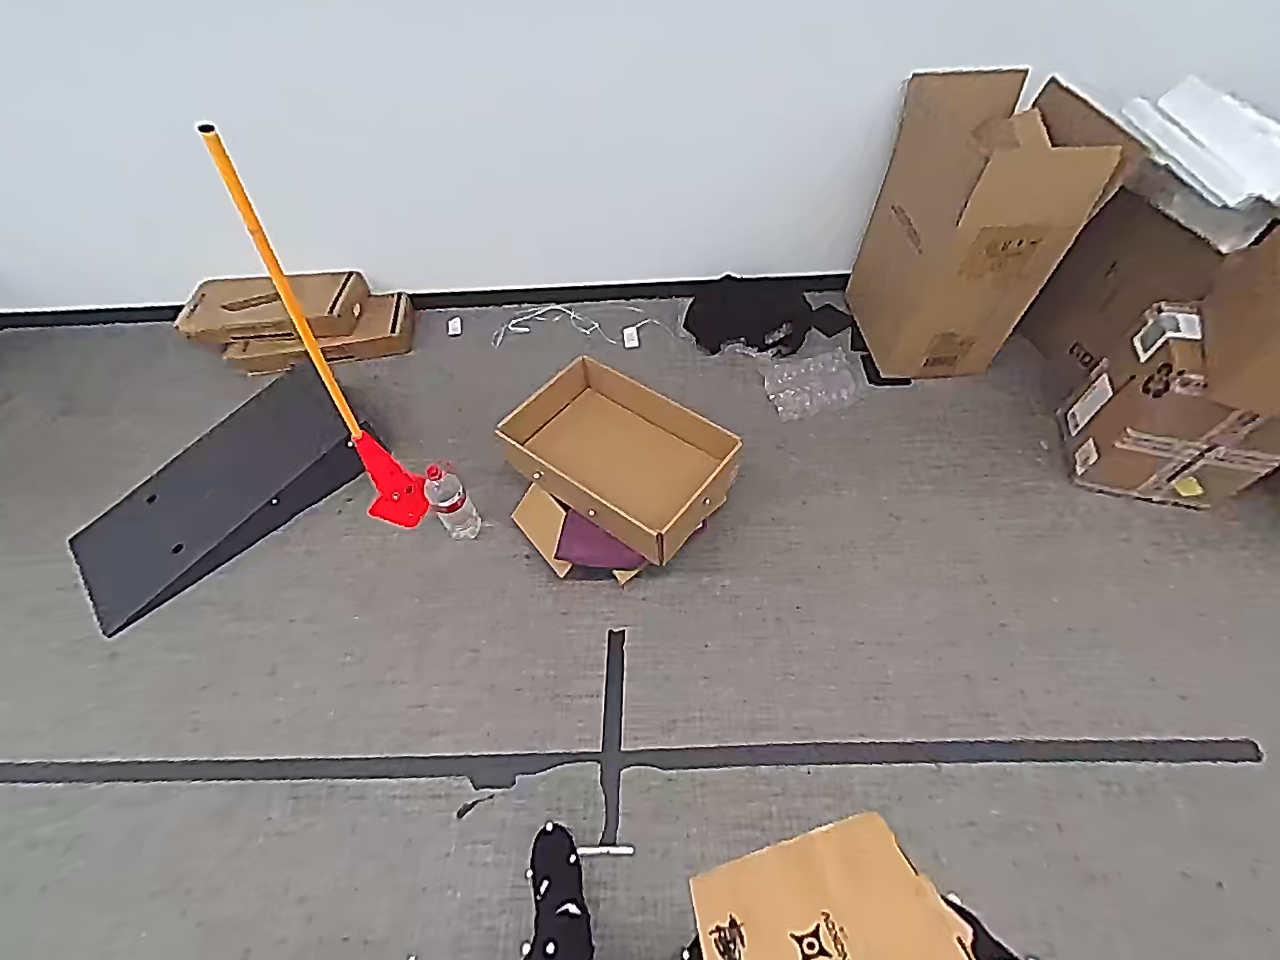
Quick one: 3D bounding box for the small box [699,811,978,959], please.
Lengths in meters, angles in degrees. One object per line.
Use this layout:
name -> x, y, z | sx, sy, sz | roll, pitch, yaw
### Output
small box -> 0.162, 0.409, 0.415 | 0.179, 0.176, 0.168 | -18, 13, -1
